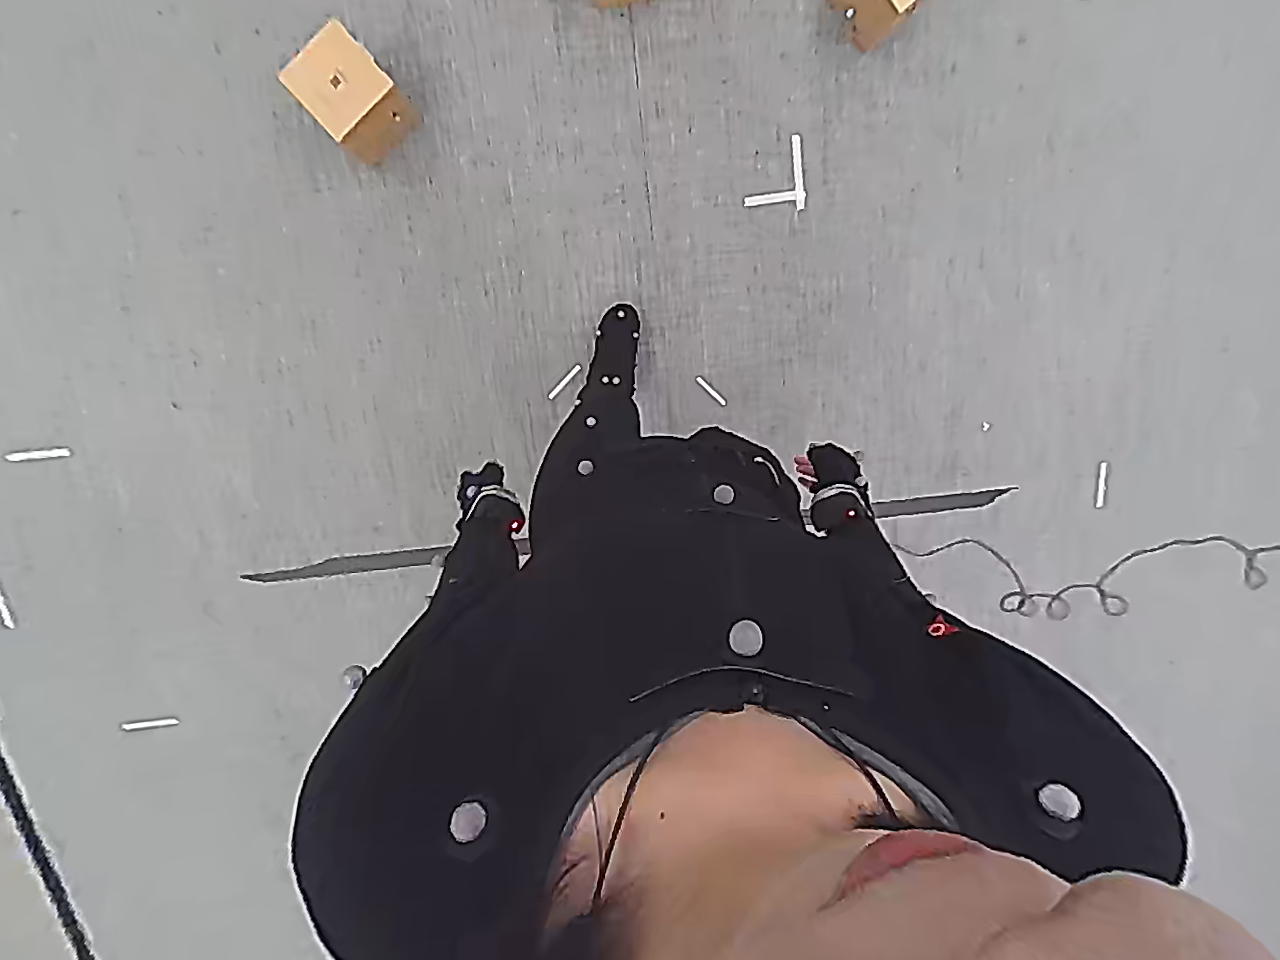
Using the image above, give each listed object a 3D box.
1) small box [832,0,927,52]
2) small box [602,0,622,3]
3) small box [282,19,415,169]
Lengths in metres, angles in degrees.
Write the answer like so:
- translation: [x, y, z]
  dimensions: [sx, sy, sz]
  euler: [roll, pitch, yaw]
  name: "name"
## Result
- translation: [0.571, -1.132, 1.216]
  dimensions: [0.179, 0.176, 0.168]
  euler: [-40, 102, 6]
  name: "small box"
- translation: [-0.032, -1.178, 1.163]
  dimensions: [0.168, 0.176, 0.179]
  euler: [-14, 104, -1]
  name: "small box"
- translation: [-0.628, -0.840, 1.197]
  dimensions: [0.179, 0.176, 0.168]
  euler: [-42, 101, 6]
  name: "small box"
